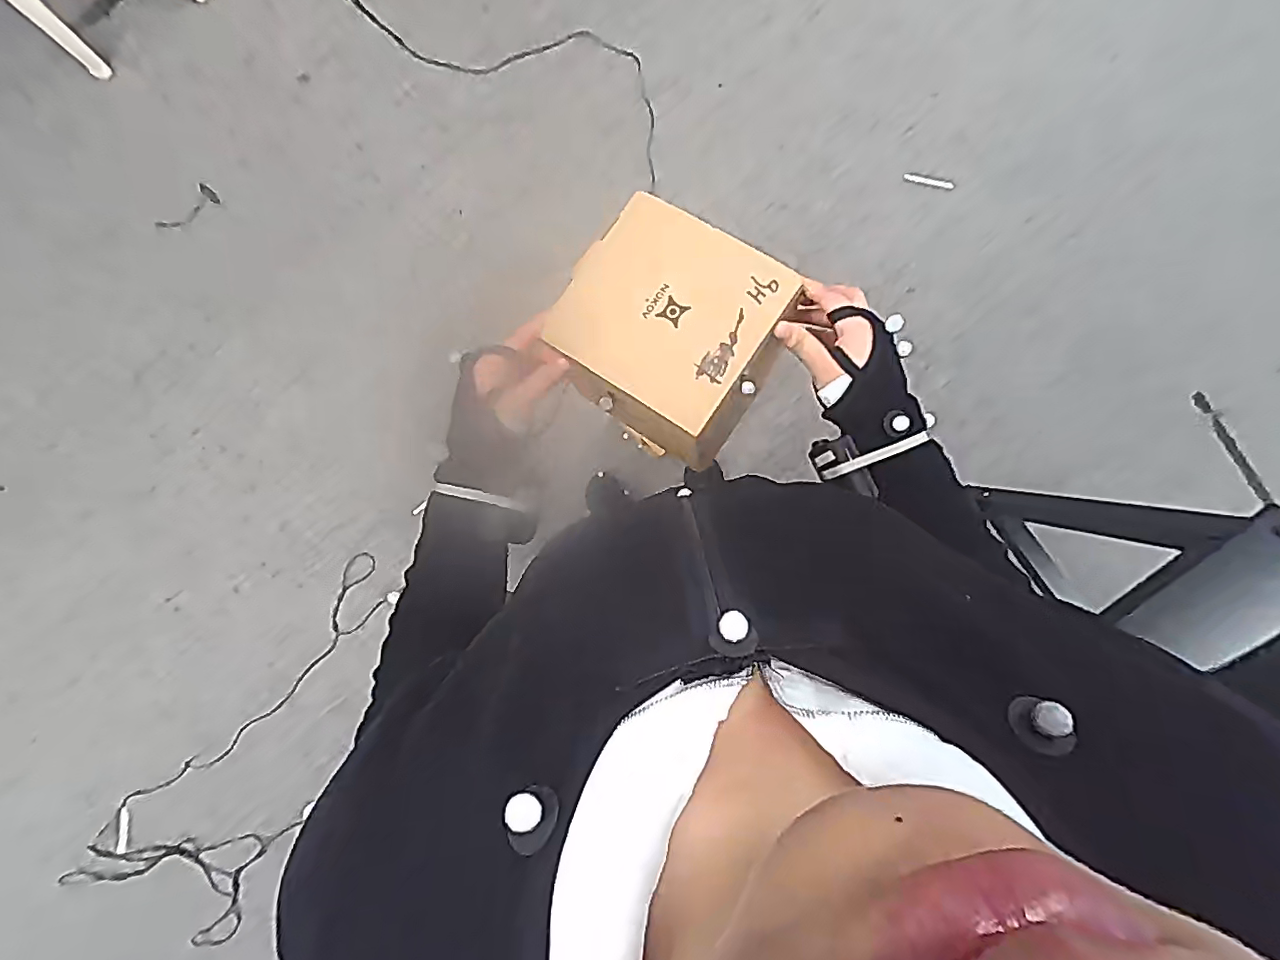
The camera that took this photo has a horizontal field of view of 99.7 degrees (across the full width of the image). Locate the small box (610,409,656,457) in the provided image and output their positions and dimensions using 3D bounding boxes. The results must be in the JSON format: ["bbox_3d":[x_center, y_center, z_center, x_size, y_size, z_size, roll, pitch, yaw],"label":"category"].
[{"bbox_3d":[0.038,-0.178,1.411,0.179,0.176,0.168,-42,93,2],"label":"small box"}]

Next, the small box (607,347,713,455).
[{"bbox_3d":[0.044,-0.174,1.248,0.168,0.176,0.179,45,91,-4],"label":"small box"}]
